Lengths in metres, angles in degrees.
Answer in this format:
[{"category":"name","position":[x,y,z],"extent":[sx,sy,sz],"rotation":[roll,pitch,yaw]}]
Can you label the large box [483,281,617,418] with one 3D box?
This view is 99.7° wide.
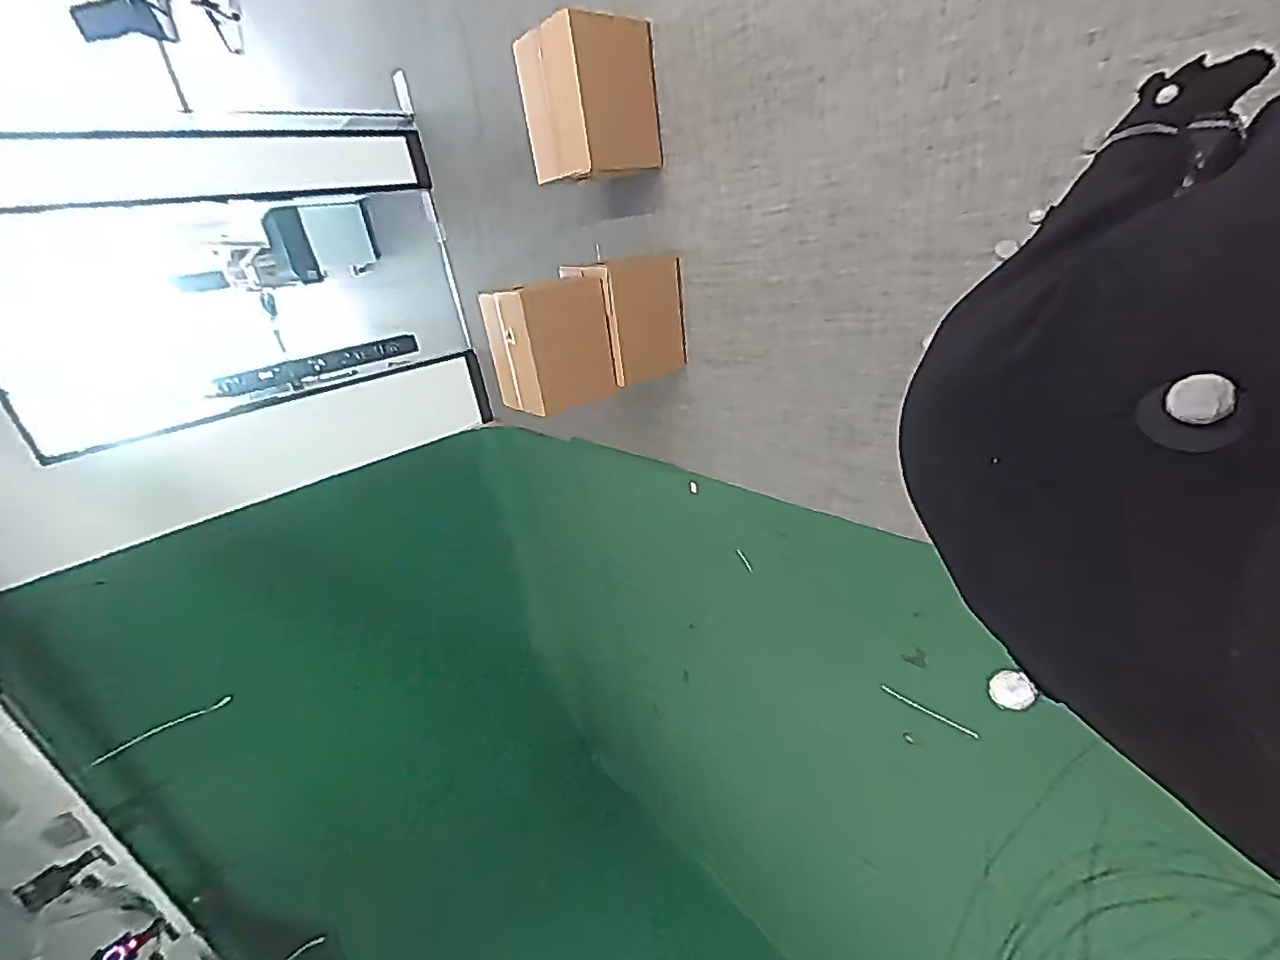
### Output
[{"category":"large box","position":[-0.310,-0.469,1.905],"extent":[0.320,0.320,0.408],"rotation":[22,127,48]}]
